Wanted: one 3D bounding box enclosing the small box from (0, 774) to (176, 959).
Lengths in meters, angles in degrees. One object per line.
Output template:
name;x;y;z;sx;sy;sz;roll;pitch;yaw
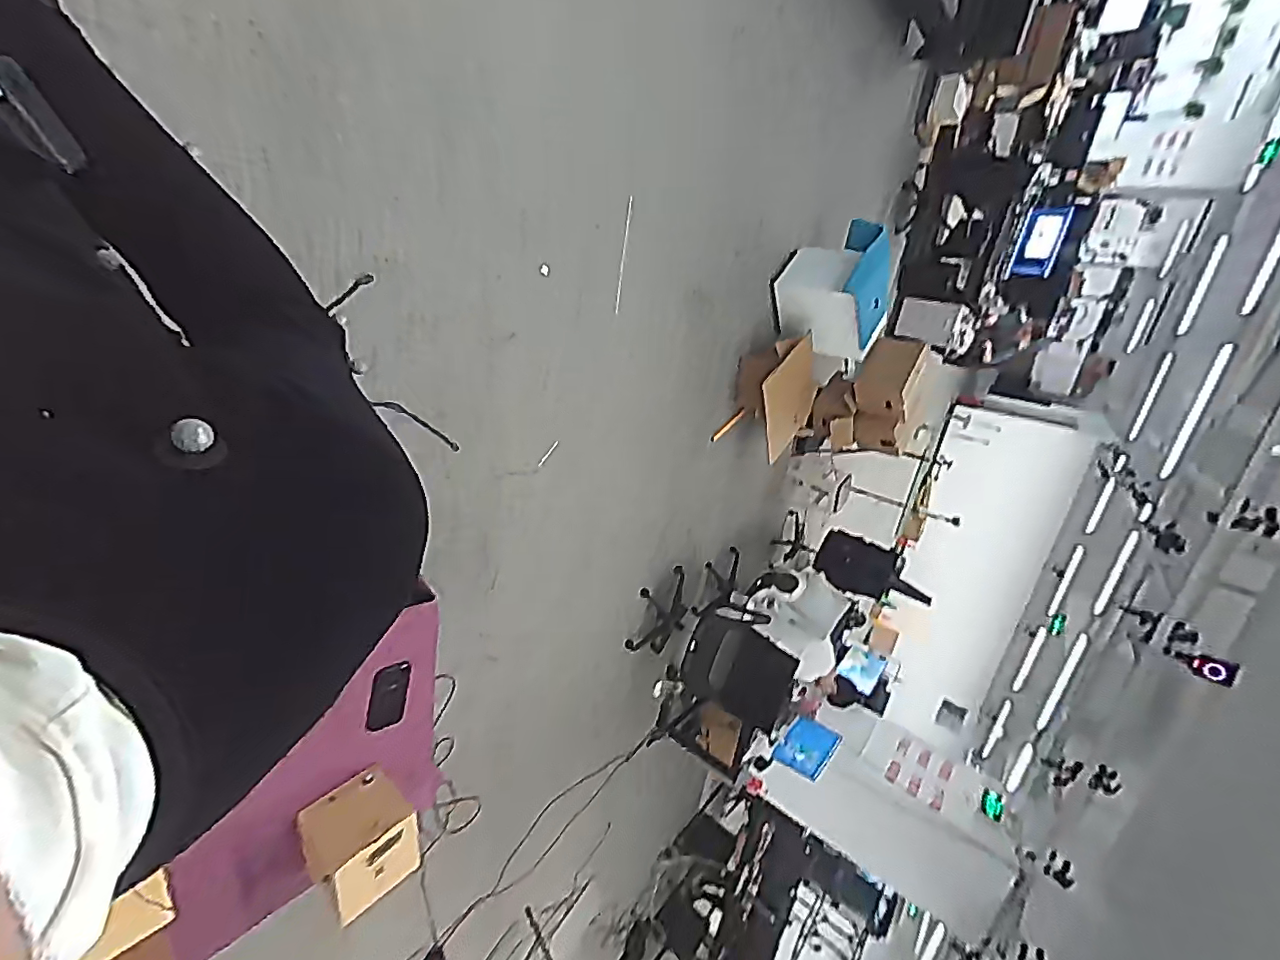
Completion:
small box;-0.772;0.553;0.738;0.168;0.176;0.179;-18;123;-49

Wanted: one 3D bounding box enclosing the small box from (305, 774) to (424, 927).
small box;-0.574;0.754;1.129;0.168;0.176;0.179;-21;125;-48
